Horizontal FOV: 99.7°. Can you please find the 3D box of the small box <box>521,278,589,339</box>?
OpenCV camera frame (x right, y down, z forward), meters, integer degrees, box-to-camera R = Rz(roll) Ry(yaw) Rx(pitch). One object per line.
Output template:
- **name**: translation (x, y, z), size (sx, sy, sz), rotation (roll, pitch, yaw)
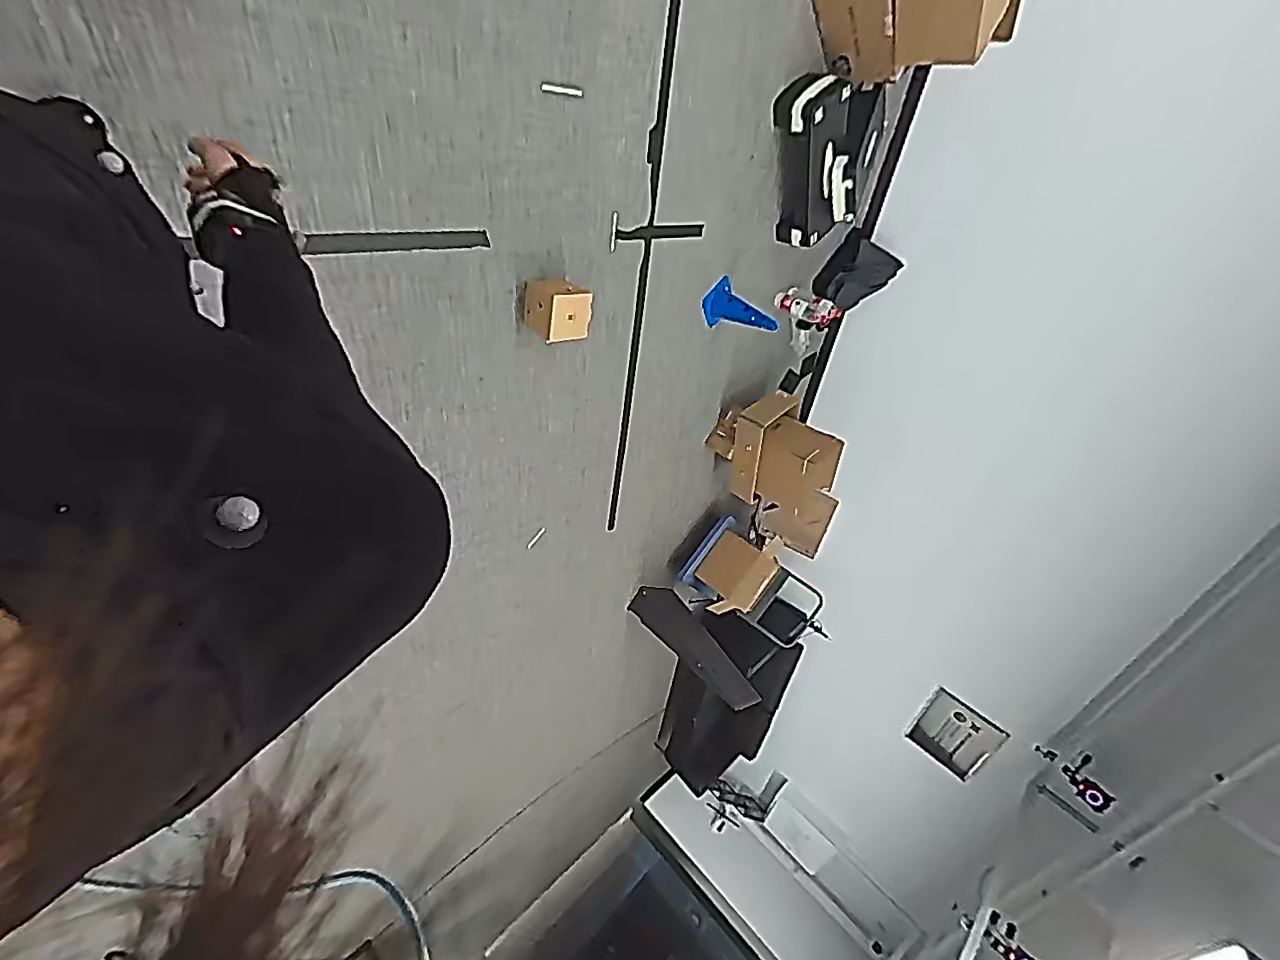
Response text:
- **small box**: translation (-0.310, -0.618, 1.938), size (0.179, 0.176, 0.168), rotation (-22, 136, -42)
